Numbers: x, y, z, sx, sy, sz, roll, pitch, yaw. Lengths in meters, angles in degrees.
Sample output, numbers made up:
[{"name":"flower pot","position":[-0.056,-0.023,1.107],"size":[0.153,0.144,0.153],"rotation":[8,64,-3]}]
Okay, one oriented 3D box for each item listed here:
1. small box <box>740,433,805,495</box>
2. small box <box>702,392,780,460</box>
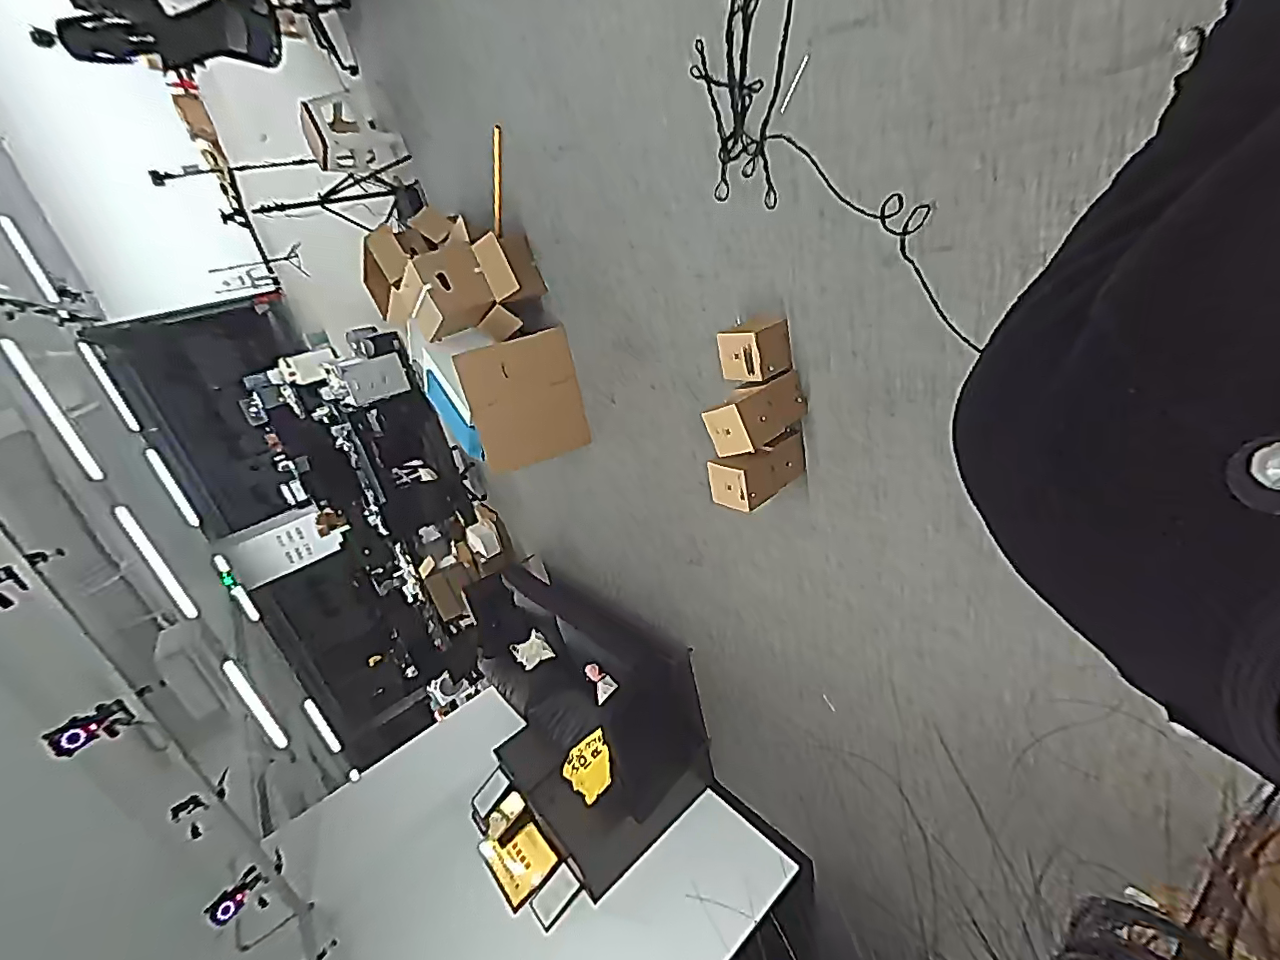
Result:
[{"name":"small box","position":[0.492,-0.071,2.010],"size":[0.168,0.176,0.179],"rotation":[18,129,50]},{"name":"small box","position":[0.347,-0.183,1.817],"size":[0.179,0.176,0.168],"rotation":[-9,107,58]}]
